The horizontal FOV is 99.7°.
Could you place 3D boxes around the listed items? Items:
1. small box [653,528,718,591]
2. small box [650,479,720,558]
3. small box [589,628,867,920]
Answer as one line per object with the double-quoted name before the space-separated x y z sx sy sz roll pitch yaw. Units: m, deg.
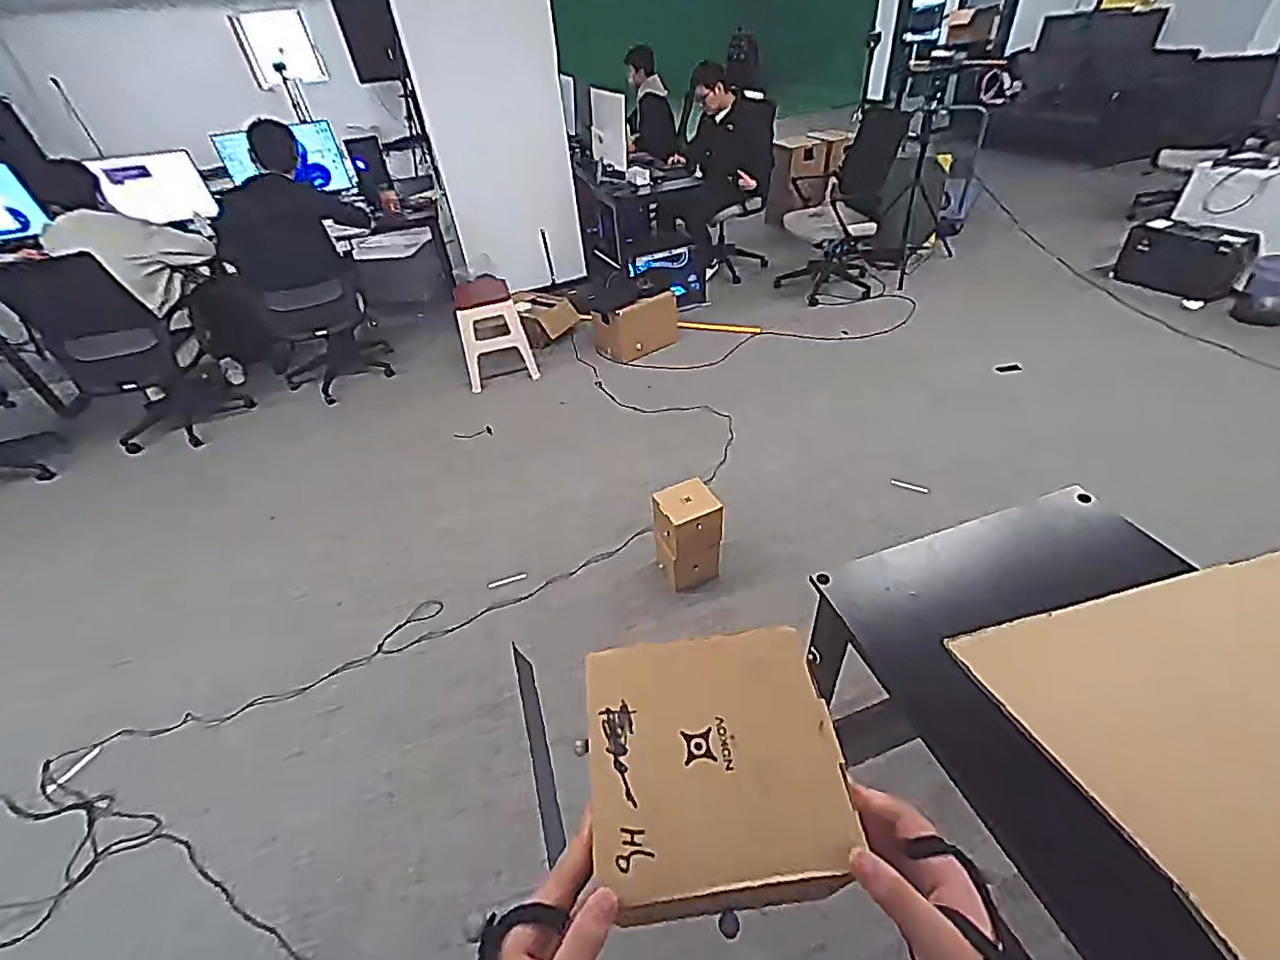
"small box" 0.158 0.256 1.901 0.179 0.176 0.168 -19 42 -14
"small box" 0.151 0.131 1.796 0.179 0.176 0.168 -20 43 -17
"small box" 0.054 0.244 0.448 0.179 0.176 0.168 -6 46 -3
